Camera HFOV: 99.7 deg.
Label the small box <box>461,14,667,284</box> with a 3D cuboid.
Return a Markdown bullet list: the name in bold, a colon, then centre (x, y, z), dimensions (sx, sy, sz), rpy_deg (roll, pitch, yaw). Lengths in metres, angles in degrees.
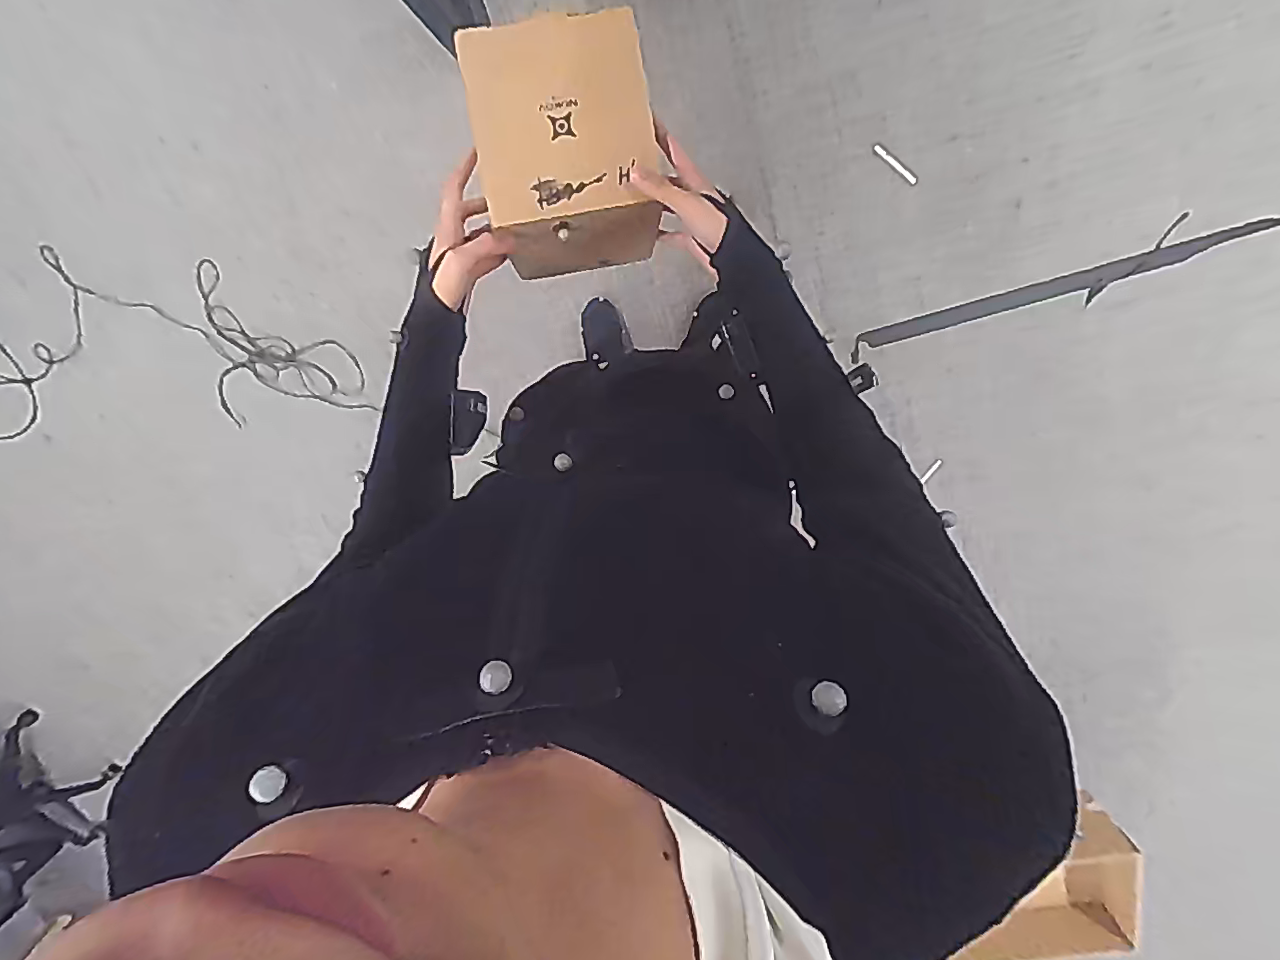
- **small box**: centre (-0.073, -0.331, 0.574), dimensions (0.168, 0.176, 0.179), rpy_deg (-11, 95, -2)
